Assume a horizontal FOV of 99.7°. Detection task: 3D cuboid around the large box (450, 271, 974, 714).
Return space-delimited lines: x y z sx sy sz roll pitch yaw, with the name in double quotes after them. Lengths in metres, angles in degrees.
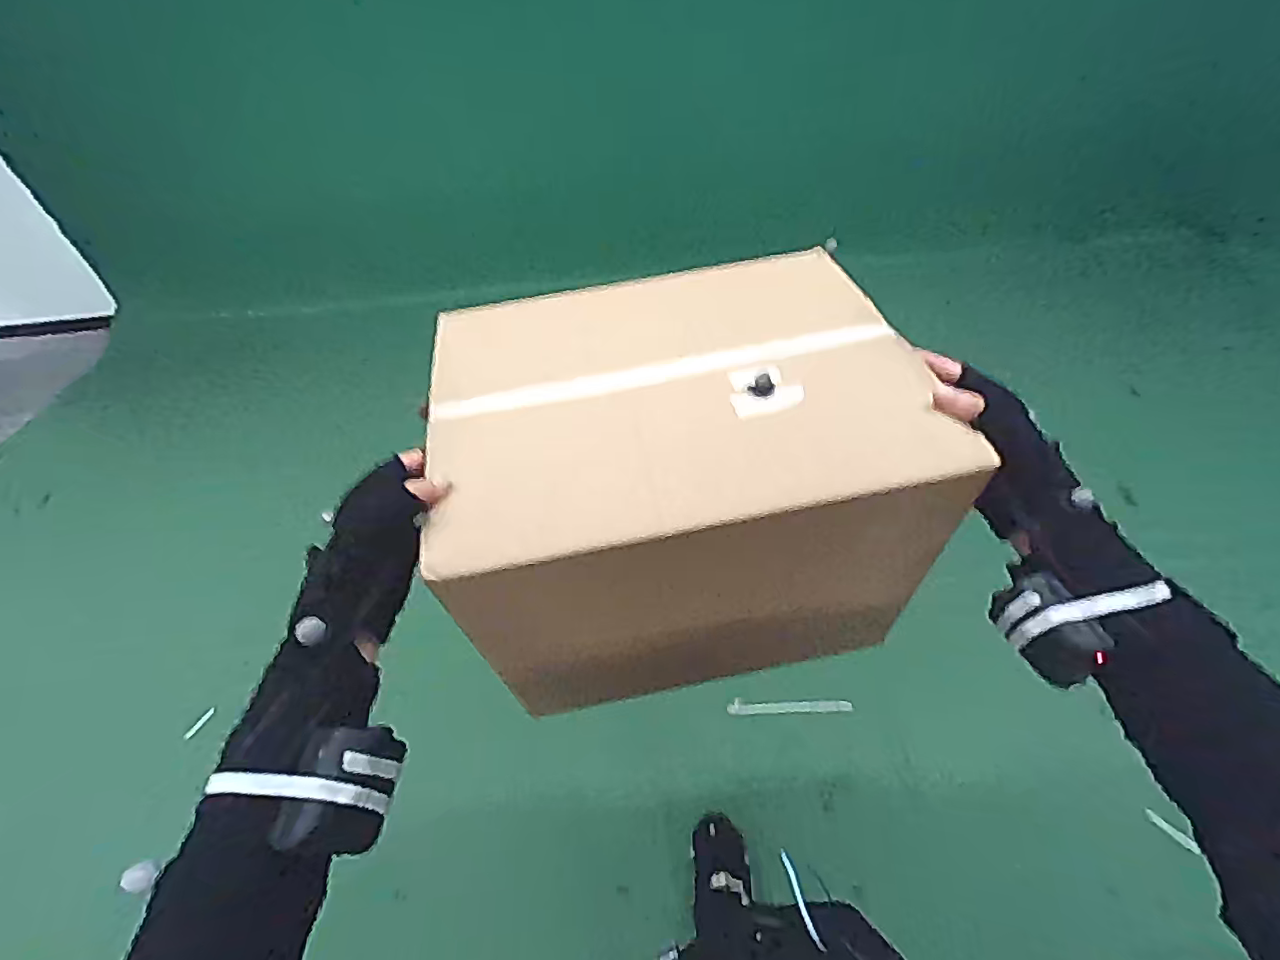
0.039 0.015 0.596 0.408 0.320 0.320 -11 51 -4 "large box"
